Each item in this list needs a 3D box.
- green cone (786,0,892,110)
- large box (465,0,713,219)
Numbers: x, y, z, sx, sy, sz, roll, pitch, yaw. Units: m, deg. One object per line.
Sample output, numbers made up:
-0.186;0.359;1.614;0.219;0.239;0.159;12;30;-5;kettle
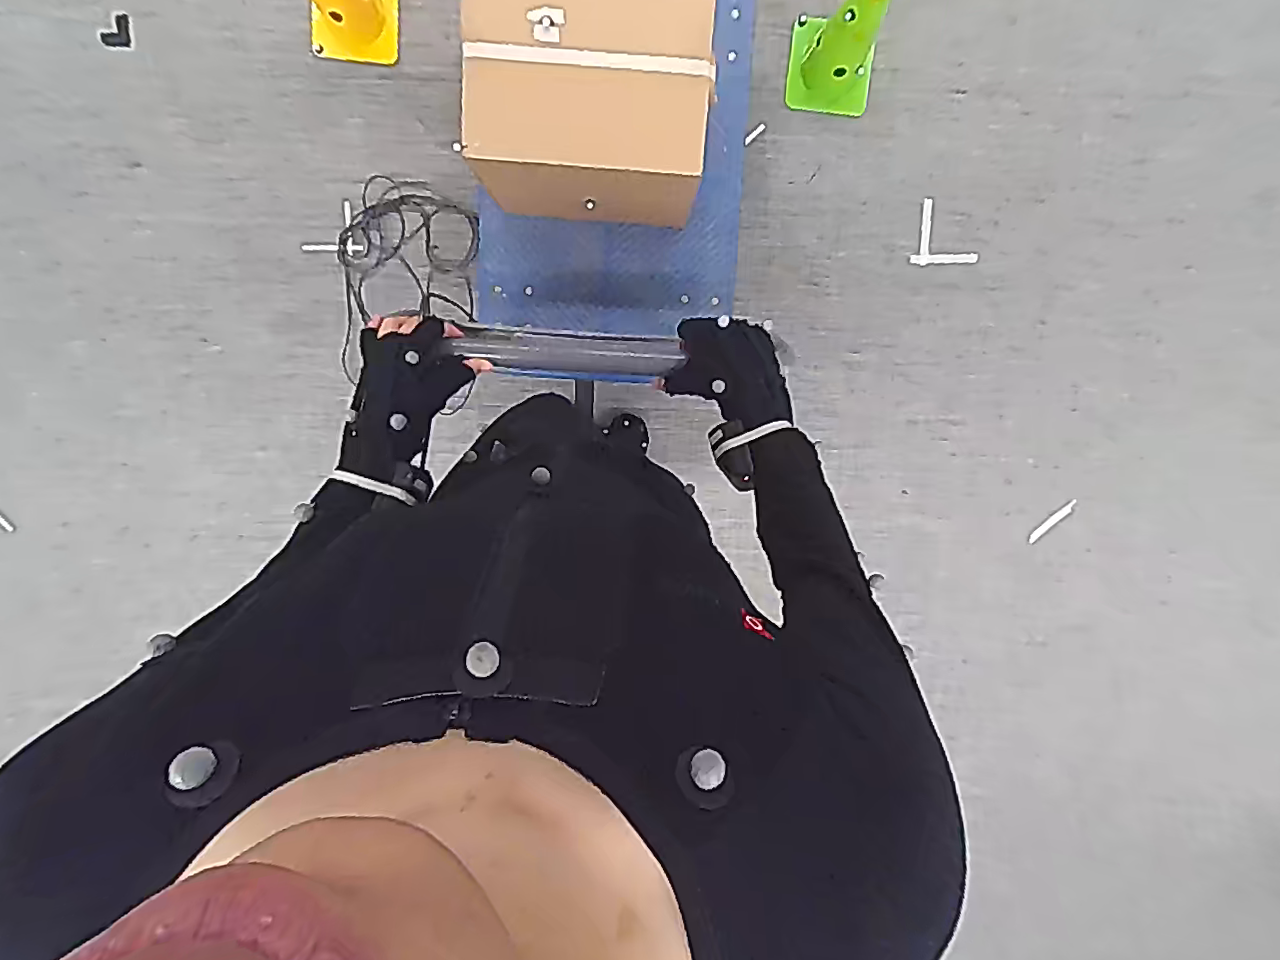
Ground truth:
0.465;-0.979;1.131;0.202;0.368;0.200;5;100;-3;green cone
-0.085;-0.706;1.025;0.408;0.320;0.320;4;100;-1;large box
